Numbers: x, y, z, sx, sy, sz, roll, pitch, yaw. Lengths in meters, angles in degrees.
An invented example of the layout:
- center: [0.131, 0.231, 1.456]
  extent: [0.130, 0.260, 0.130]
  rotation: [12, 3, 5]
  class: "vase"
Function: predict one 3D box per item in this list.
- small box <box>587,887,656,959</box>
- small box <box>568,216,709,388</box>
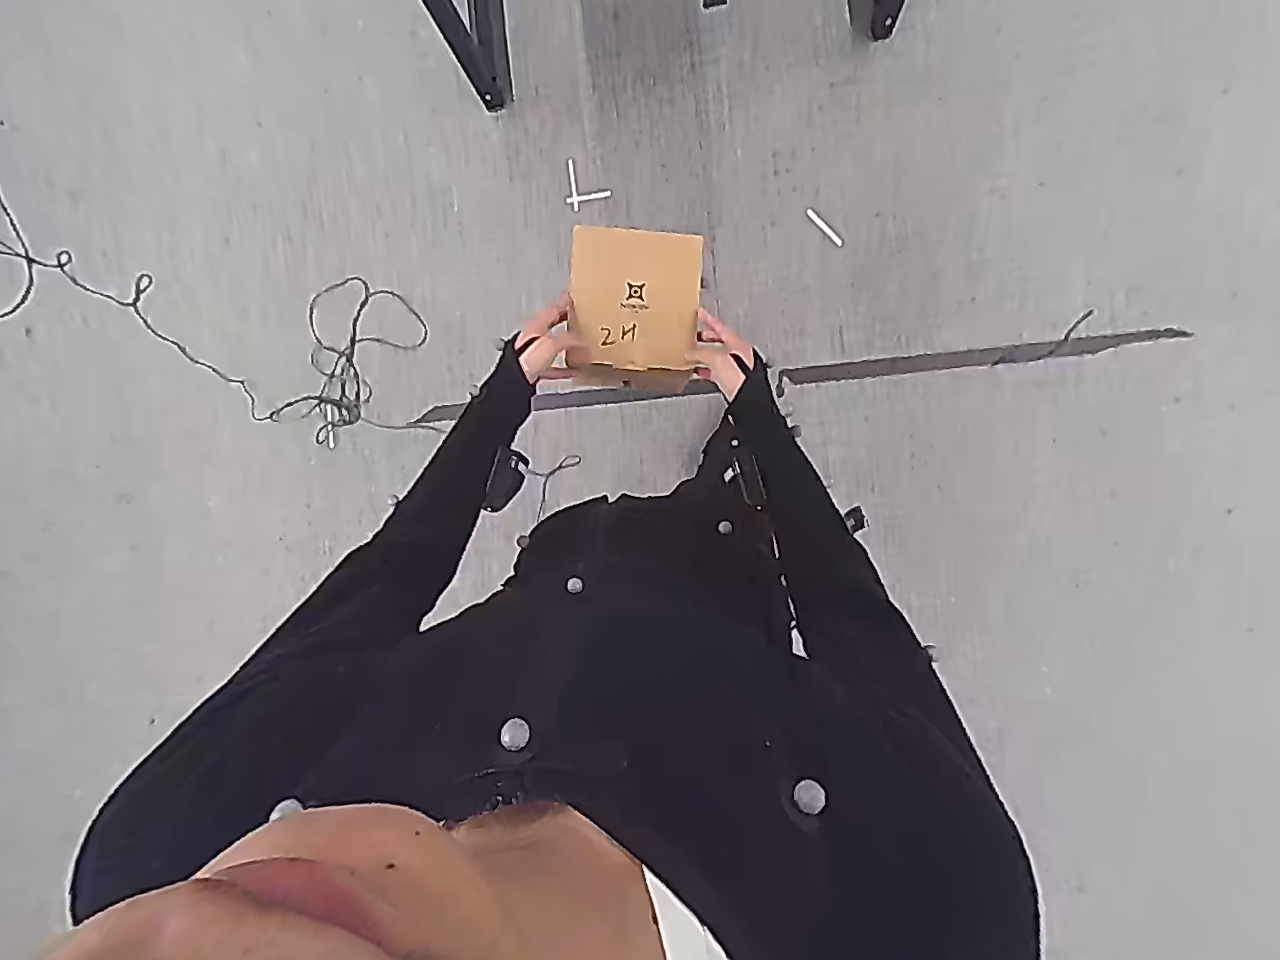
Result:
- center: [-0.049, 1.316, 1.563]
  extent: [0.168, 0.176, 0.179]
  rotation: [-9, 91, 7]
  class: "small box"
- center: [-0.005, -0.232, 0.743]
  extent: [0.168, 0.176, 0.179]
  rotation: [4, 91, -2]
  class: "small box"
